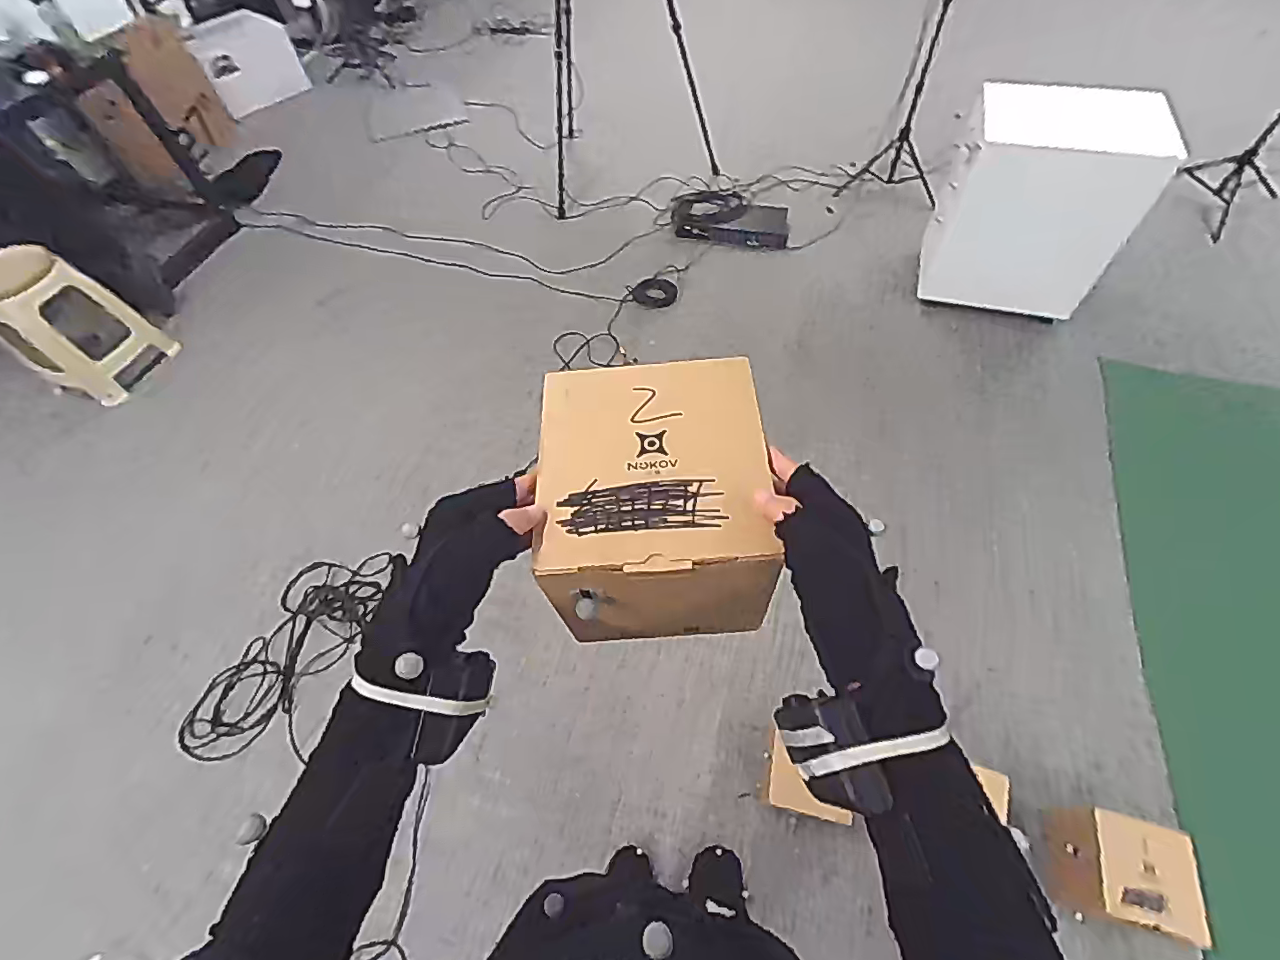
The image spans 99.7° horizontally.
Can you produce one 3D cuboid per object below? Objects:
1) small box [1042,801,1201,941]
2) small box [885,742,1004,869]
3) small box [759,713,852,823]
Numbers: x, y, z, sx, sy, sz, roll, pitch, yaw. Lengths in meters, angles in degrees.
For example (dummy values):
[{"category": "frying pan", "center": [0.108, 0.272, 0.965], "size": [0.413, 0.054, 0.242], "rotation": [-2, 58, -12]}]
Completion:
[{"category": "small box", "center": [0.938, 0.765, 1.073], "size": [0.168, 0.176, 0.179], "rotation": [13, 58, 12]}, {"category": "small box", "center": [0.638, 0.685, 1.145], "size": [0.168, 0.176, 0.179], "rotation": [17, 60, 14]}, {"category": "small box", "center": [0.360, 0.637, 1.194], "size": [0.168, 0.176, 0.179], "rotation": [8, 60, 11]}]
